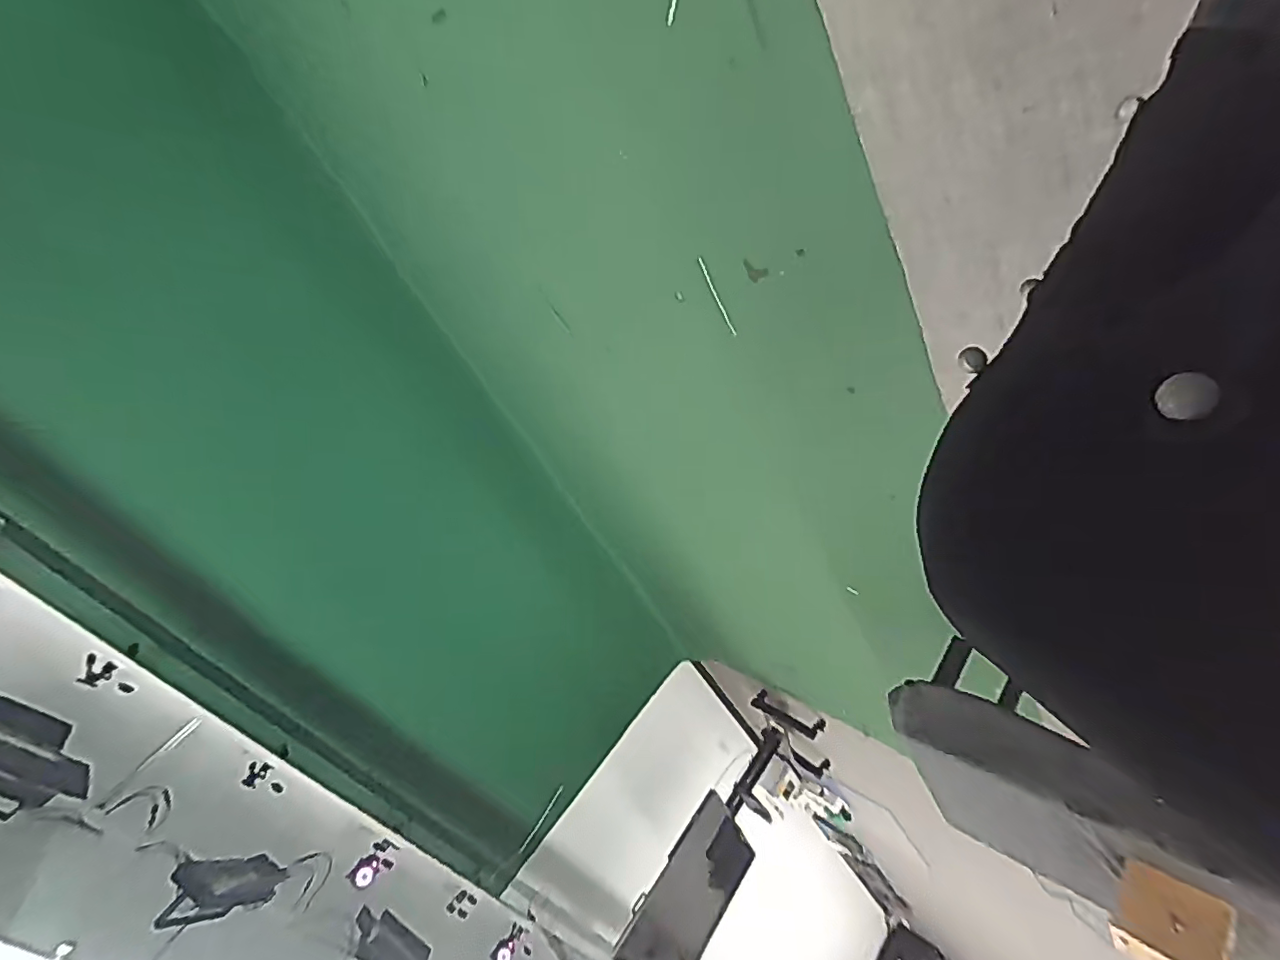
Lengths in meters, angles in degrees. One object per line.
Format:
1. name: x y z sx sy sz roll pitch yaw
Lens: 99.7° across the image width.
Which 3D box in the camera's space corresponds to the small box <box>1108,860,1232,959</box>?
1. small box: 1.200 1.014 1.220 0.179 0.176 0.168 6 138 55
